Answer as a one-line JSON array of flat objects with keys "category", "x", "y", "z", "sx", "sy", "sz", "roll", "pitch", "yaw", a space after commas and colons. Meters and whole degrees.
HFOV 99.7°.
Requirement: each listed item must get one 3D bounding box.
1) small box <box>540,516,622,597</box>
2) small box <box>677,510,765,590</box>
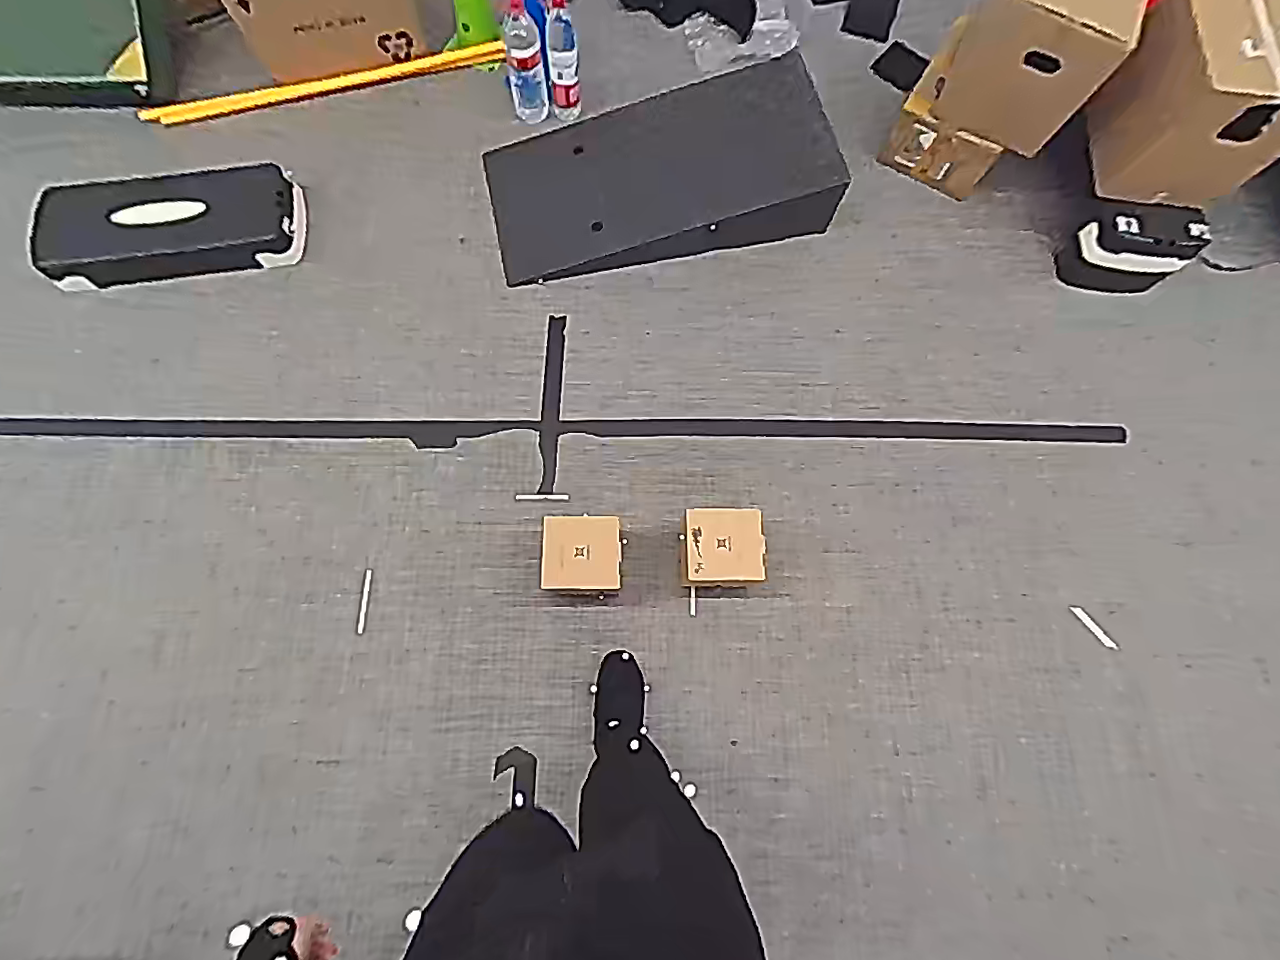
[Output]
[{"category": "small box", "x": -0.133, "y": 0.183, "z": 1.271, "sx": 0.179, "sy": 0.176, "sz": 0.168, "roll": 1, "pitch": 74, "yaw": -2}, {"category": "small box", "x": 0.187, "y": 0.171, "z": 1.287, "sx": 0.179, "sy": 0.176, "sz": 0.168, "roll": 1, "pitch": 74, "yaw": -3}]
